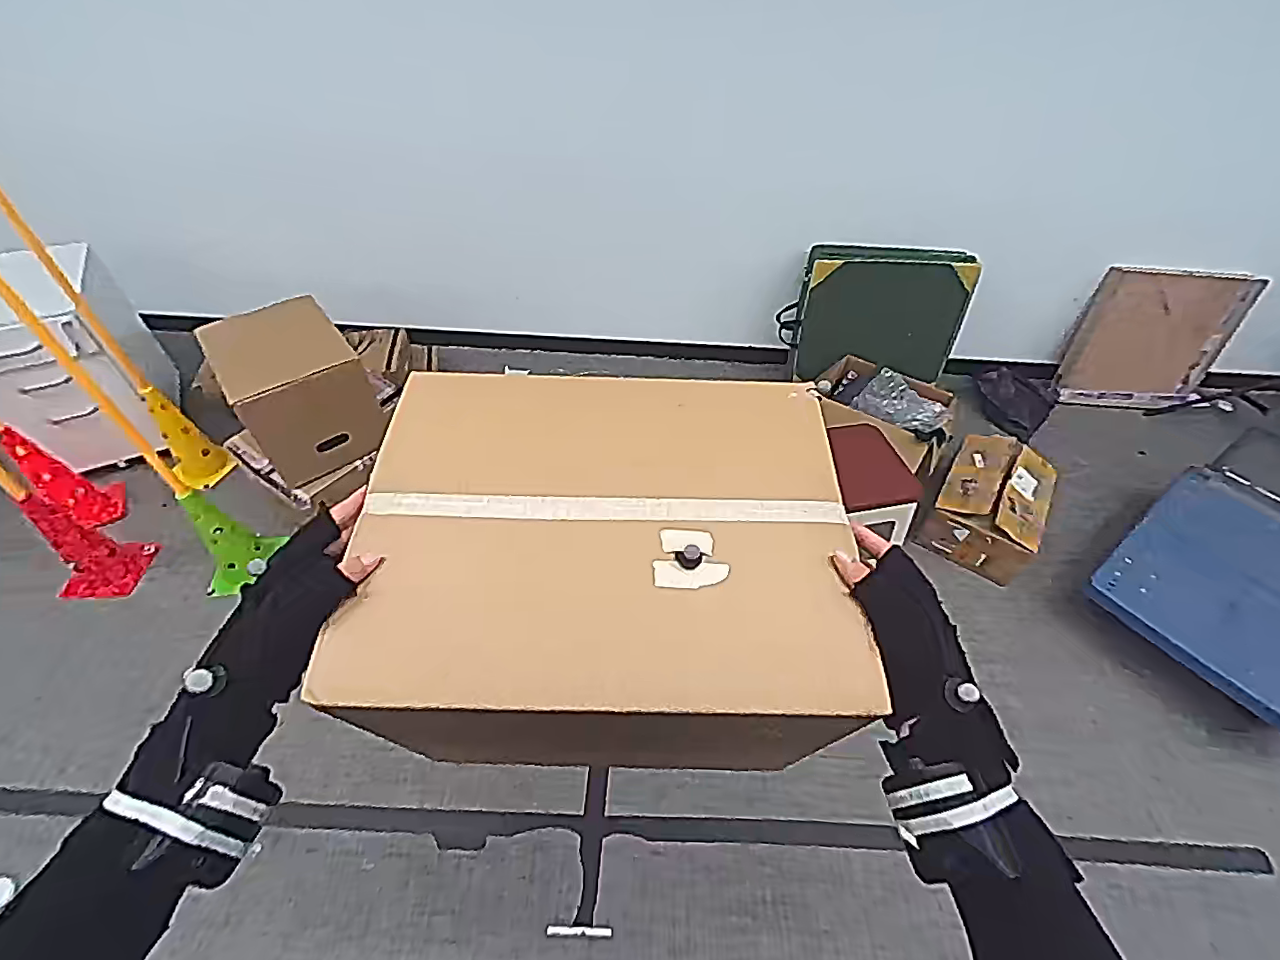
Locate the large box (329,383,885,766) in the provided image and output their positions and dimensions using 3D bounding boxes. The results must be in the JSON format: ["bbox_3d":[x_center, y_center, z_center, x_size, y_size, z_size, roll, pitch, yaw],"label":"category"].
[{"bbox_3d":[-0.027,0.117,0.586,0.408,0.320,0.320,2,56,-2],"label":"large box"}]
